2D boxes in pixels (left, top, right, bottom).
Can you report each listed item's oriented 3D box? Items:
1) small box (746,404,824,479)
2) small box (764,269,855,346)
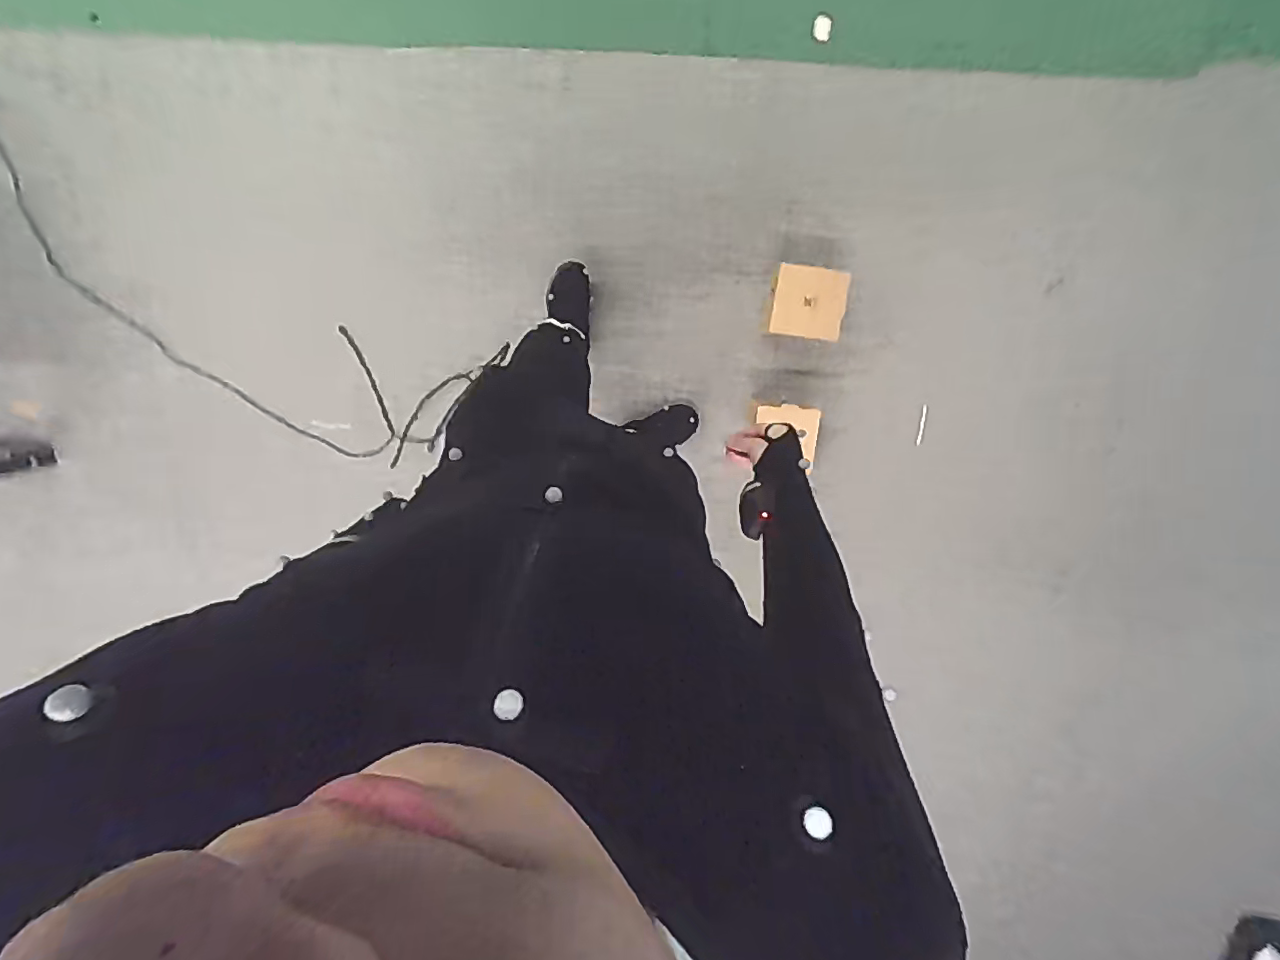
[{"bbox_3d":[0.392,-0.112,1.493,0.168,0.176,0.179,5,104,3],"label":"small box"},{"bbox_3d":[0.431,-0.442,1.409,0.179,0.176,0.168,8,105,1],"label":"small box"}]
